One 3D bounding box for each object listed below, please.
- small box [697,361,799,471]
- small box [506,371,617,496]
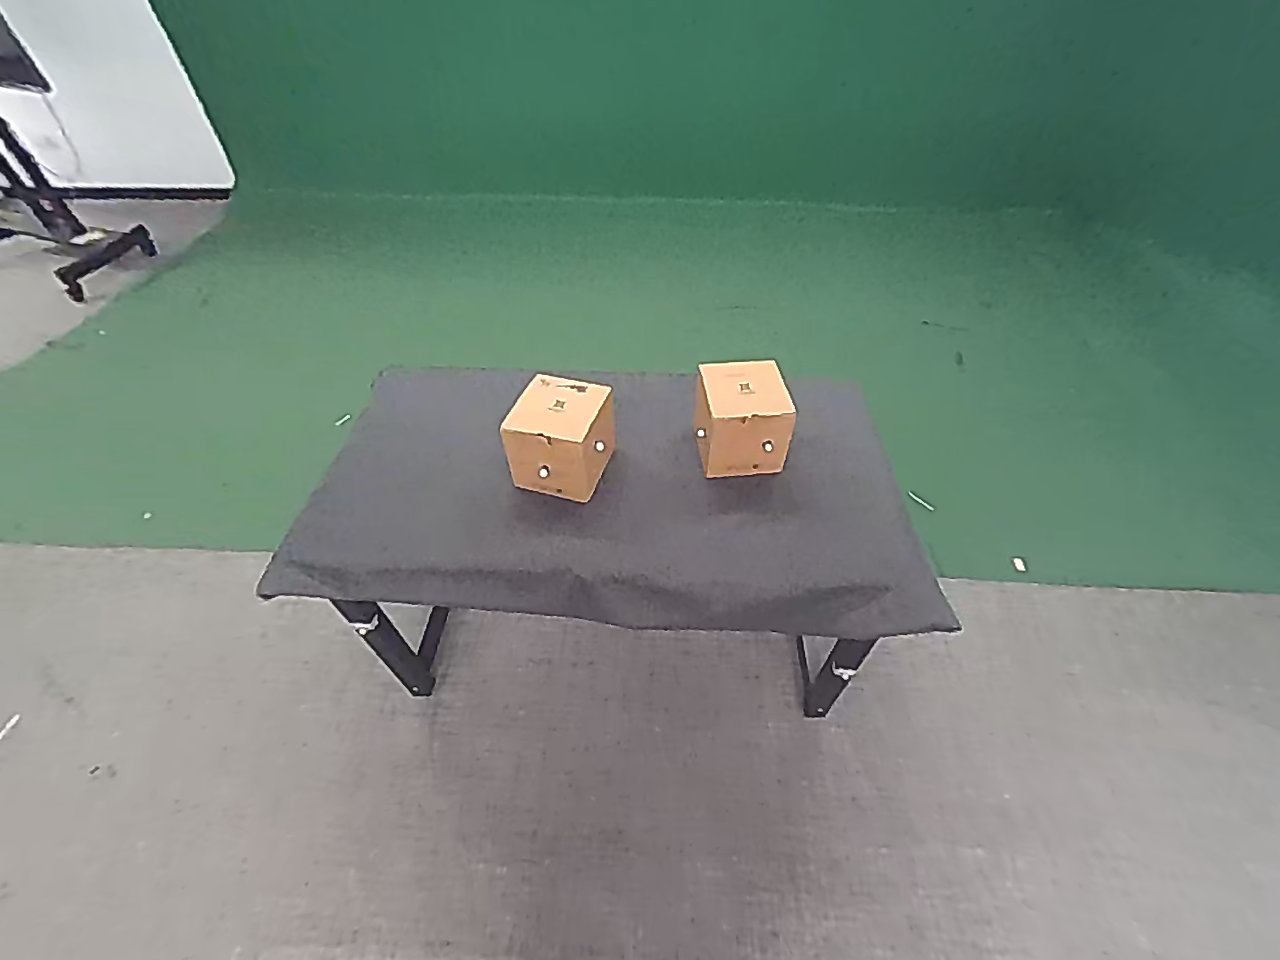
[{"bbox_3d":[0.219,-0.130,1.145,0.168,0.176,0.179,-3,47,-4],"label":"small box"},{"bbox_3d":[-0.149,-0.093,1.109,0.168,0.176,0.179,14,50,11],"label":"small box"}]
